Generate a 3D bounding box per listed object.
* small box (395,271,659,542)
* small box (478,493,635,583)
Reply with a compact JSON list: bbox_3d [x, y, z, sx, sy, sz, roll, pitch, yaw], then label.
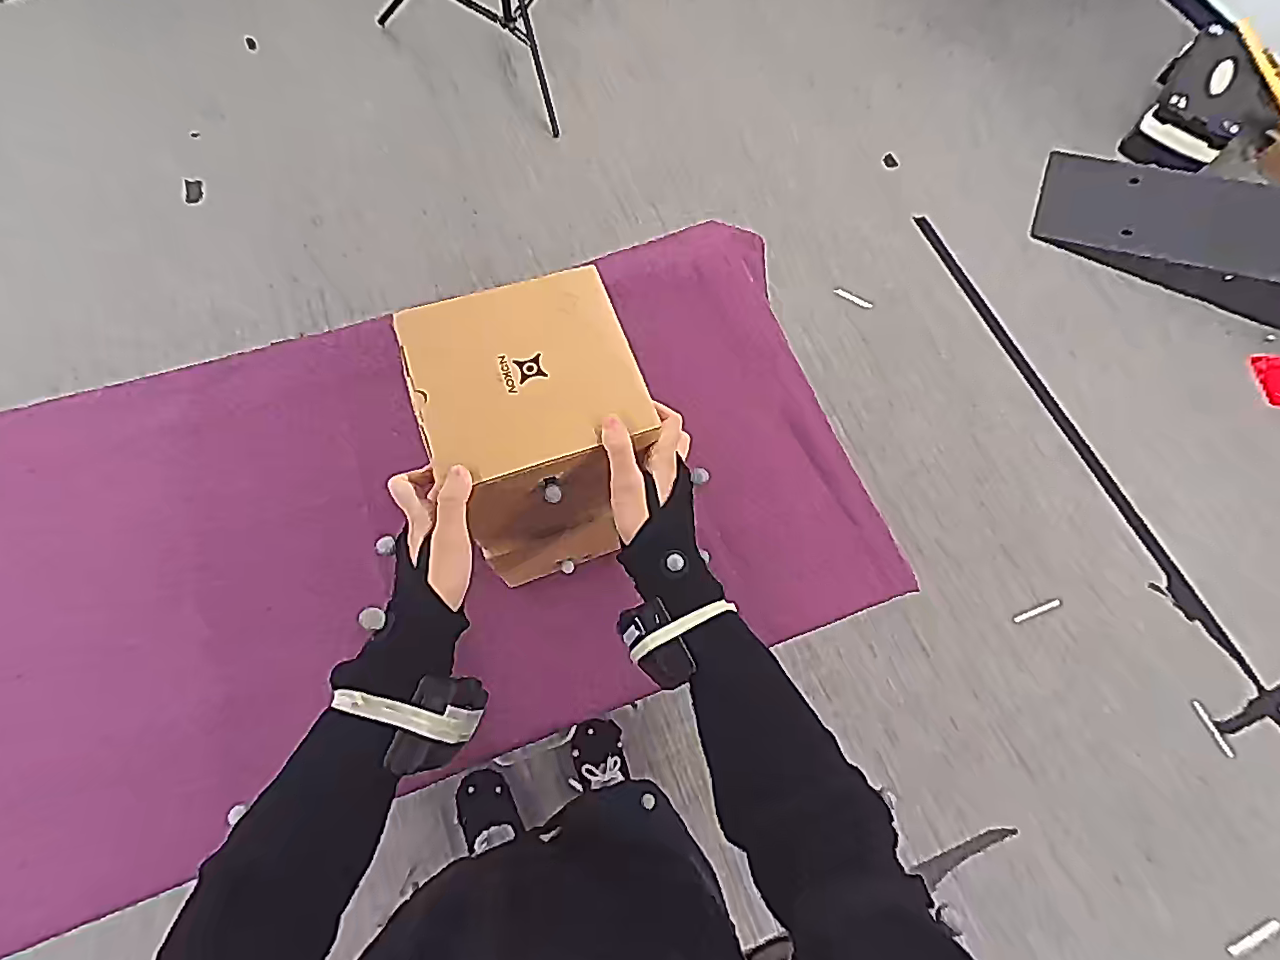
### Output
[{"bbox_3d":[-0.098,-0.057,0.506,0.179,0.176,0.168,-19,73,-10],"label":"small box"},{"bbox_3d":[-0.115,0.007,0.655,0.168,0.176,0.179,-19,72,-10],"label":"small box"}]
